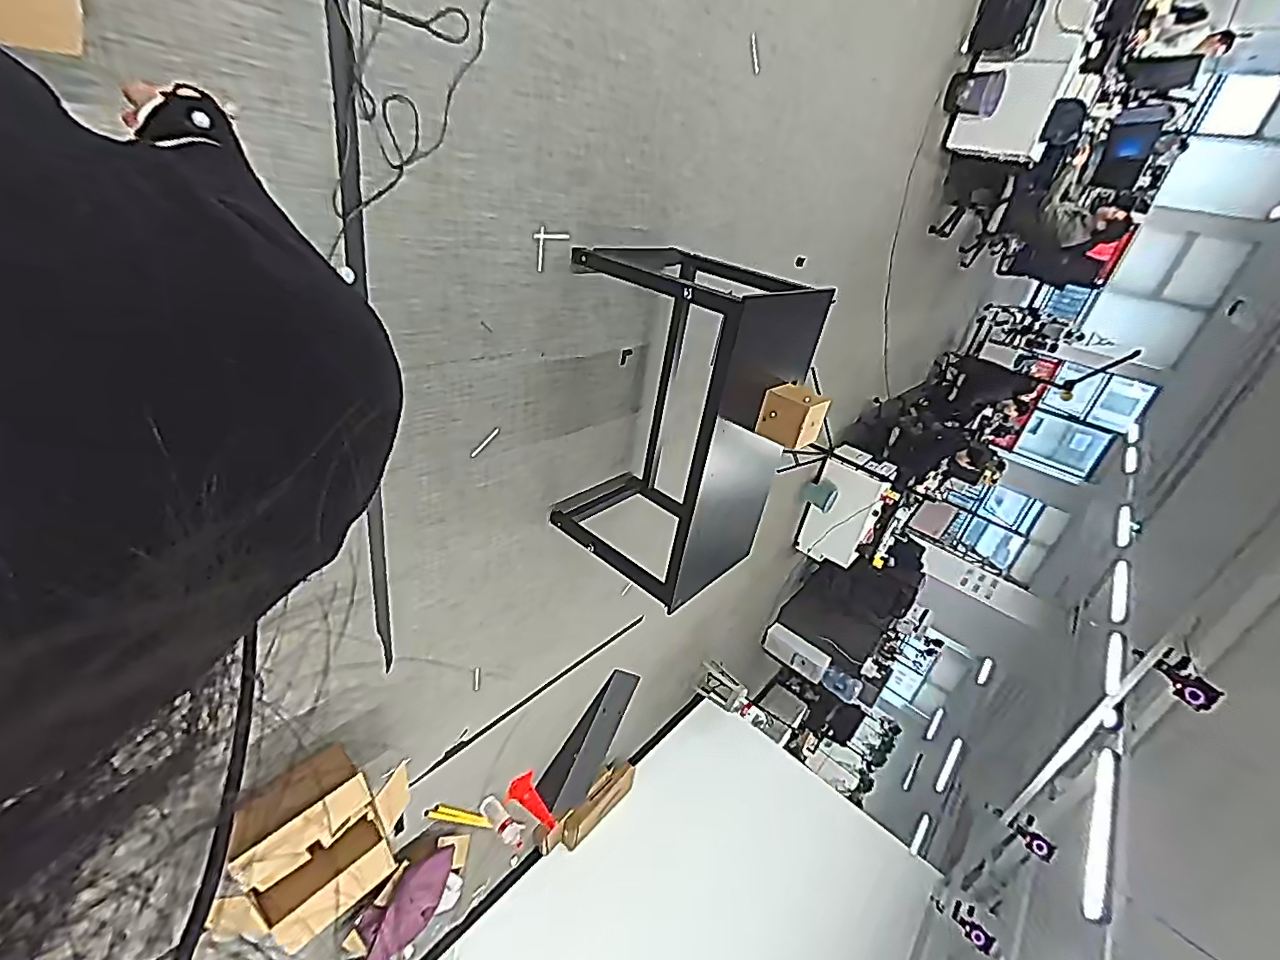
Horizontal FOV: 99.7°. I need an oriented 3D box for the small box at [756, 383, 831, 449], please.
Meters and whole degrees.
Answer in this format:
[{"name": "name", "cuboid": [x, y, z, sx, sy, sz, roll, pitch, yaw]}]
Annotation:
[{"name": "small box", "cuboid": [0.537, -0.233, 1.908, 0.179, 0.176, 0.168, -22, 133, -44]}]
